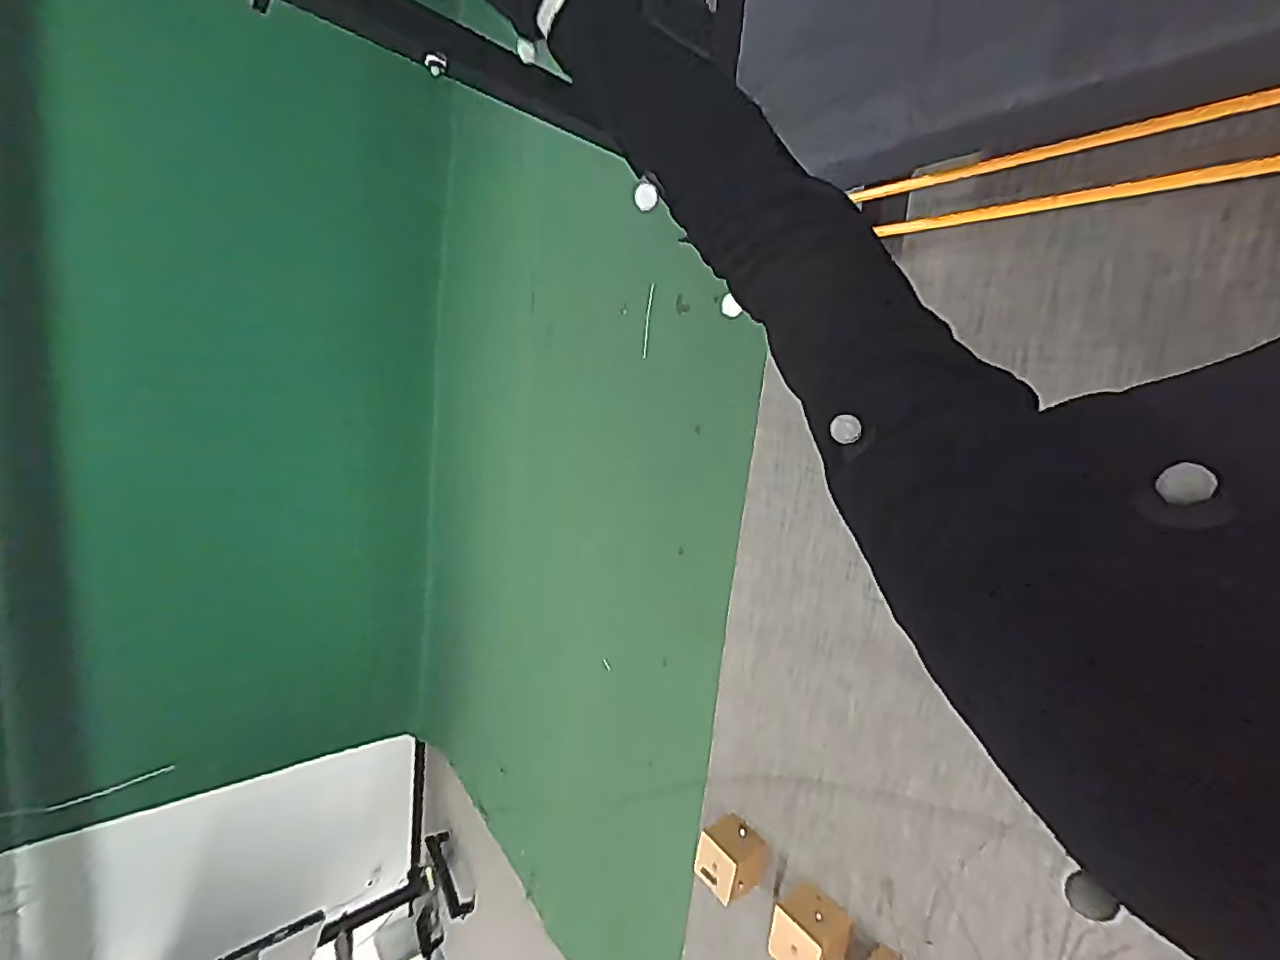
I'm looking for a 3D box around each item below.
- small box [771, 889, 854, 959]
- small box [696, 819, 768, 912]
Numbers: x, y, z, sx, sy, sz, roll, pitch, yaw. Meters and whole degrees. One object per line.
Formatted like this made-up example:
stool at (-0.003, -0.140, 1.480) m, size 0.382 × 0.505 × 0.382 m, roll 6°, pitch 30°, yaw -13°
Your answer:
small box at (0.528, 1.407, 1.645) m, size 0.168 × 0.176 × 0.179 m, roll 16°, pitch 103°, yaw 50°
small box at (0.325, 1.340, 1.891) m, size 0.168 × 0.176 × 0.179 m, roll 22°, pitch 106°, yaw 48°
